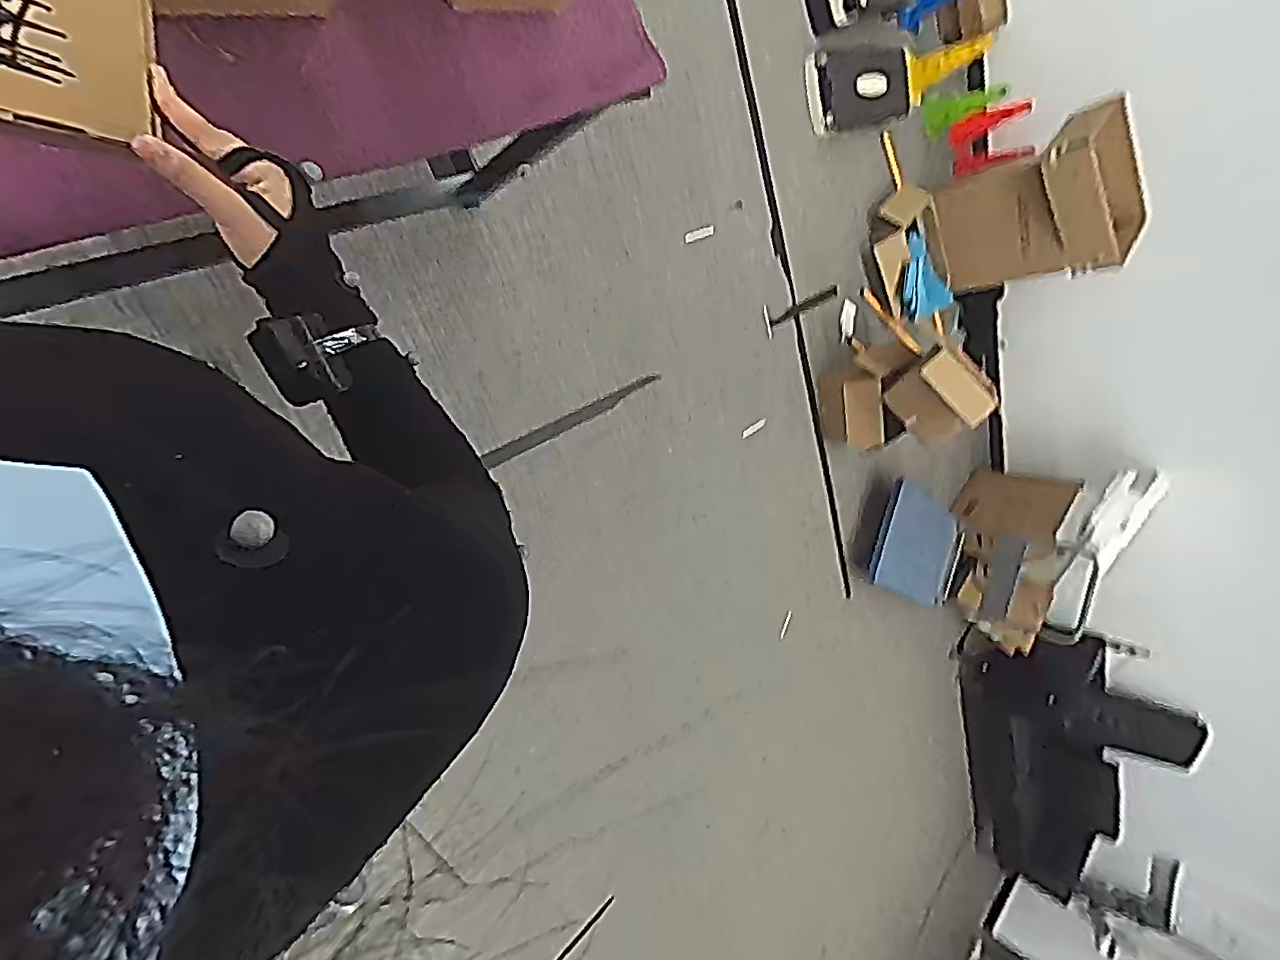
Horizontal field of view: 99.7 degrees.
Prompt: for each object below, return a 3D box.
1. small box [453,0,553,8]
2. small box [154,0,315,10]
[{"bbox_3d":[-0.159,-0.724,0.664,0.179,0.176,0.168,-30,114,-30],"label":"small box"},{"bbox_3d":[-0.404,-0.571,0.494,0.179,0.176,0.168,-31,116,-32],"label":"small box"}]
